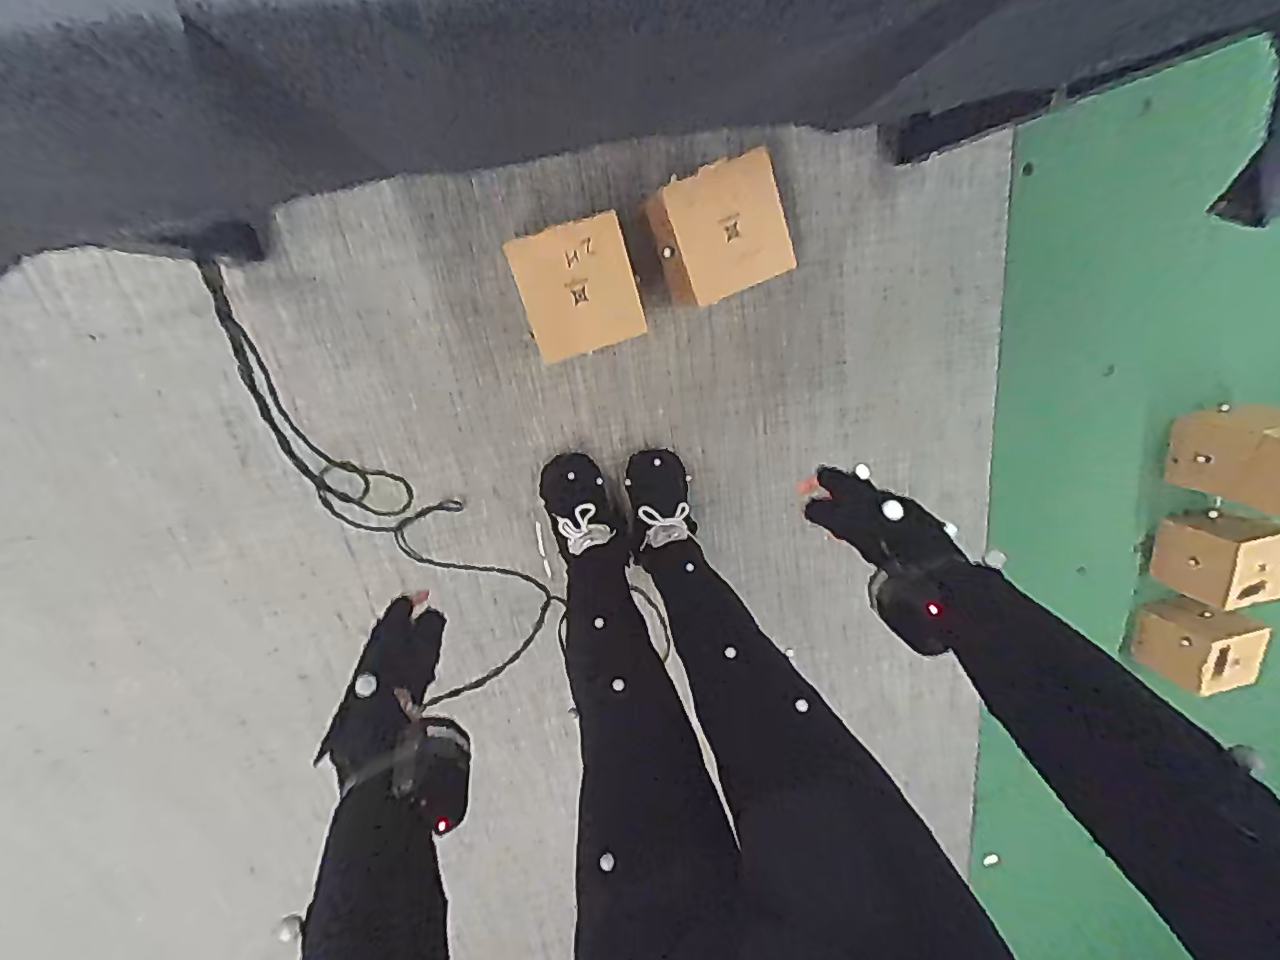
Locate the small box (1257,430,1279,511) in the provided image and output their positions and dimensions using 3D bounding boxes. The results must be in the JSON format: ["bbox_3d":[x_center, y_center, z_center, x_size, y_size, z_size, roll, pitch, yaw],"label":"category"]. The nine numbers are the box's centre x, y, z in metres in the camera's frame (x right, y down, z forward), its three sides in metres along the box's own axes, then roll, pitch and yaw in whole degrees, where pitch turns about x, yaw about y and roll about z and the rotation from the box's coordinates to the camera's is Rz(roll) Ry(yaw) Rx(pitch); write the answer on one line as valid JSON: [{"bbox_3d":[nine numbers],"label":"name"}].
[{"bbox_3d":[1.375,-0.016,1.050,0.168,0.176,0.179,-15,110,-7],"label":"small box"}]

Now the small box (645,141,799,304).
[{"bbox_3d":[0.120,-0.389,0.850,0.168,0.176,0.179,-24,110,-3],"label":"small box"}]

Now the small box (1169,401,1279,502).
[{"bbox_3d":[1.344,-0.070,1.201,0.179,0.176,0.168,-13,110,-6],"label":"small box"}]
